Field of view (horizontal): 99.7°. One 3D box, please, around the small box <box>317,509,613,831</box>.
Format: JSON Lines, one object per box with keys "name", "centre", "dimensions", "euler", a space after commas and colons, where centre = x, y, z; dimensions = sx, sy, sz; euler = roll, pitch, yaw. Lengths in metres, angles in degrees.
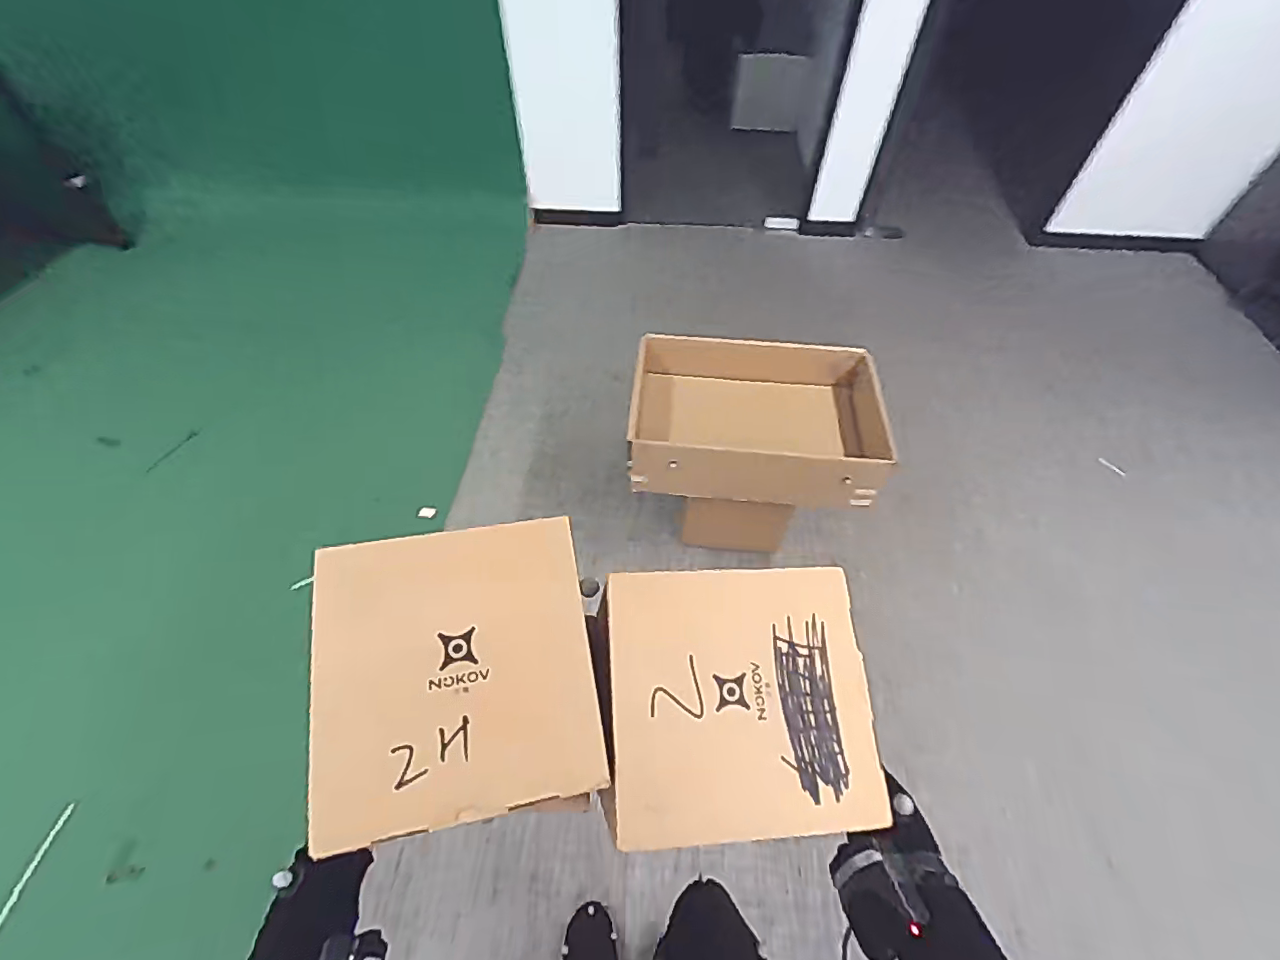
{"name": "small box", "centre": [-0.121, 0.139, 0.412], "dimensions": [0.168, 0.176, 0.179], "euler": [-6, 67, -12]}
